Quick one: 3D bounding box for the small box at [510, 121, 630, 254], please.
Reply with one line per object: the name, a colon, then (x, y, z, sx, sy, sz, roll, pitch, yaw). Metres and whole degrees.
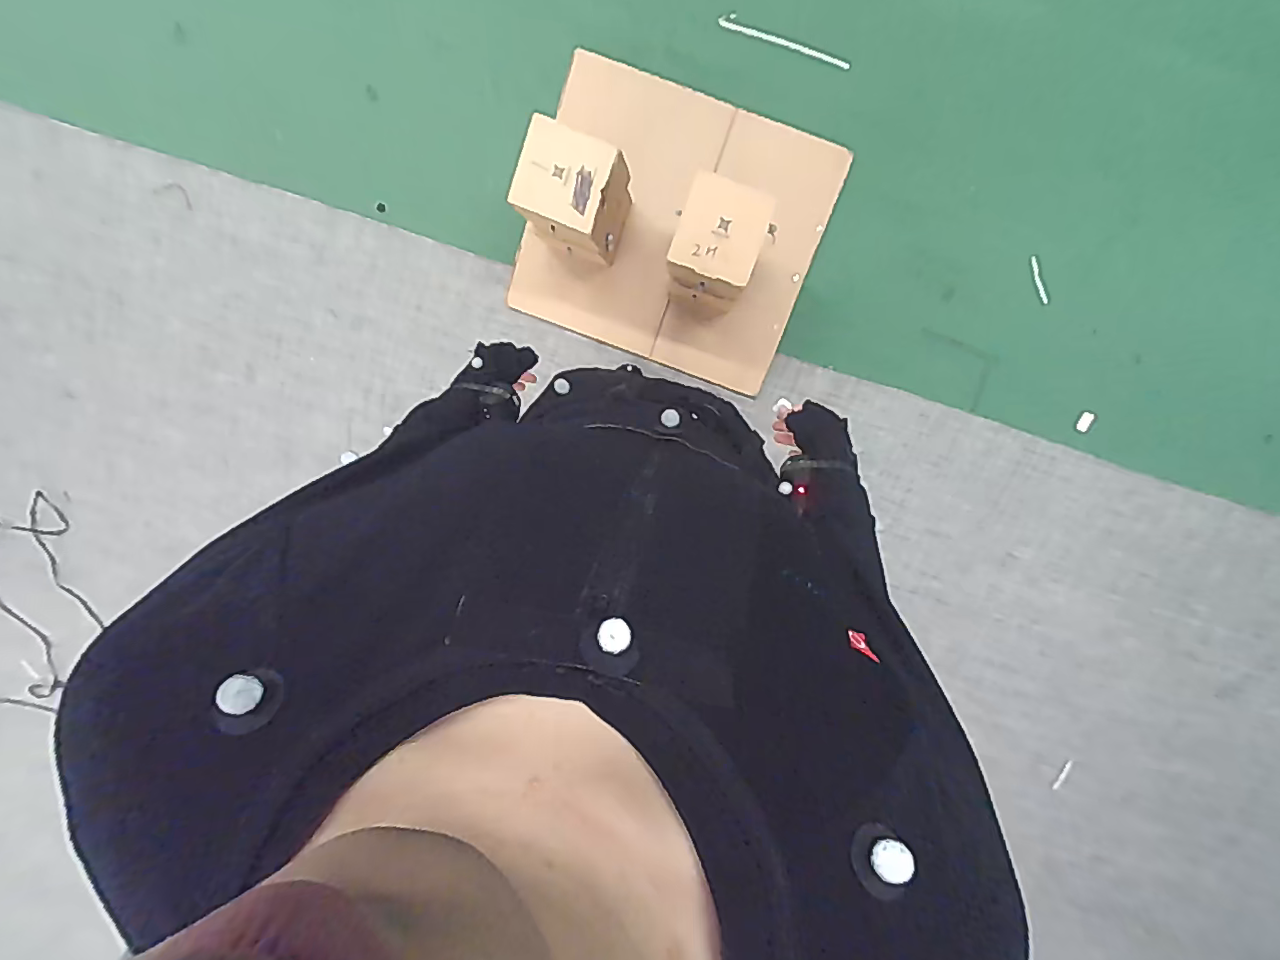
small box: (-0.133, -0.576, 1.095, 0.179, 0.176, 0.168, 23, 103, 2)

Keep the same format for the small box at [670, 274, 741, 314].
small box: (0.172, -0.501, 1.260, 0.168, 0.176, 0.179, 18, 103, 0)

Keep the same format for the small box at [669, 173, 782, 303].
small box: (0.164, -0.477, 1.095, 0.168, 0.176, 0.179, 21, 103, 1)
